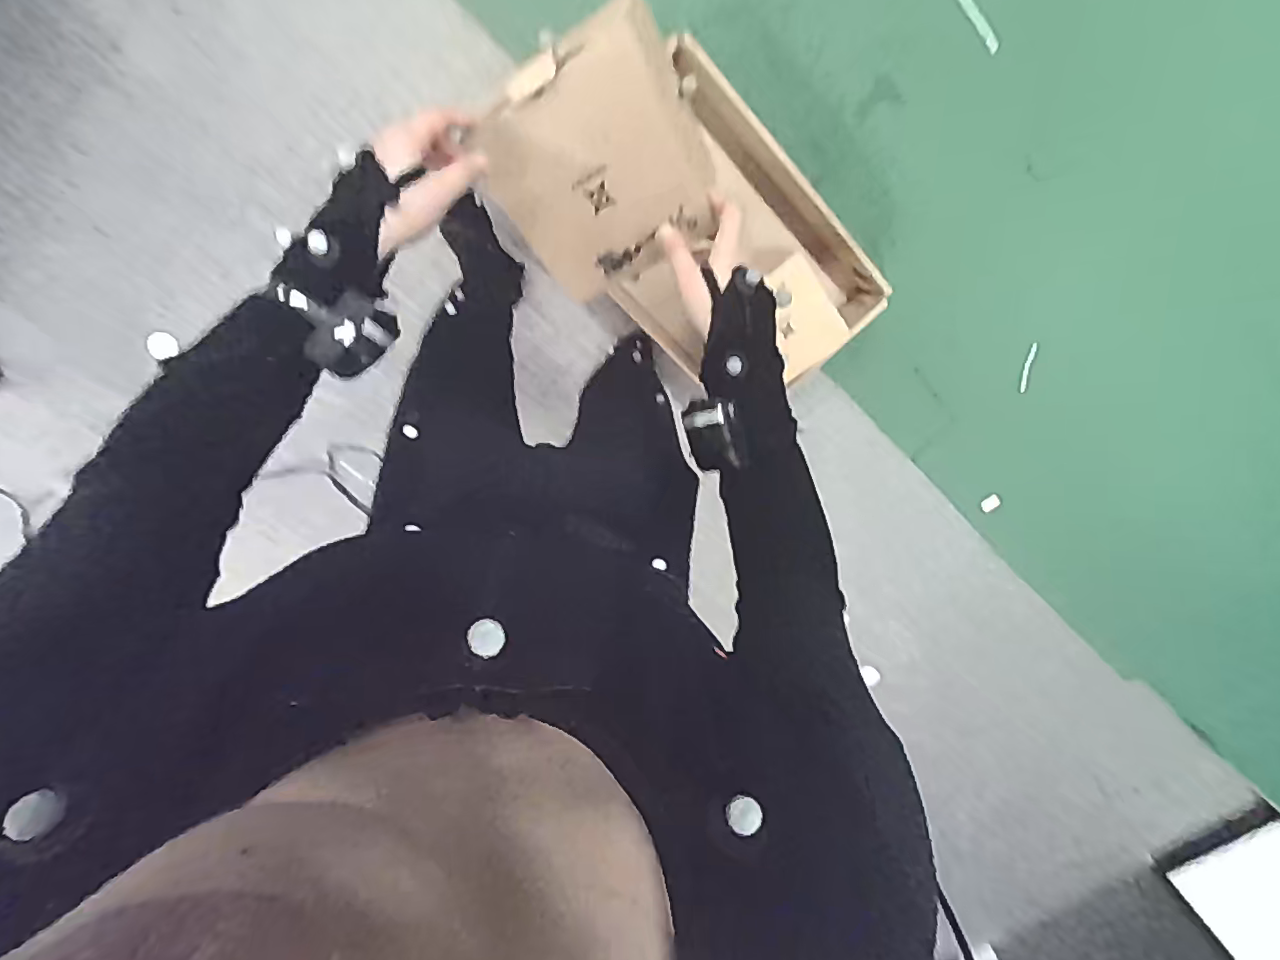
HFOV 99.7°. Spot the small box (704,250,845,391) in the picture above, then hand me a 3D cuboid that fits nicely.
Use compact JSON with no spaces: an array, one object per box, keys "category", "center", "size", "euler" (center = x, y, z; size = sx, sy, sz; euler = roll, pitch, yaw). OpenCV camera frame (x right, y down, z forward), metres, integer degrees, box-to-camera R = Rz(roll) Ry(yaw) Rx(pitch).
[{"category":"small box","center":[0.236,-0.297,0.985],"size":[0.168,0.176,0.179],"euler":[-36,110,15]}]

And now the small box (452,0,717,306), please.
[{"category":"small box","center":[-0.040,-0.308,0.511],"size":[0.168,0.176,0.179],"euler":[-18,136,23]}]

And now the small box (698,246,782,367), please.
[{"category":"small box","center":[0.238,-0.370,1.133],"size":[0.179,0.176,0.168],"euler":[-36,110,16]}]
